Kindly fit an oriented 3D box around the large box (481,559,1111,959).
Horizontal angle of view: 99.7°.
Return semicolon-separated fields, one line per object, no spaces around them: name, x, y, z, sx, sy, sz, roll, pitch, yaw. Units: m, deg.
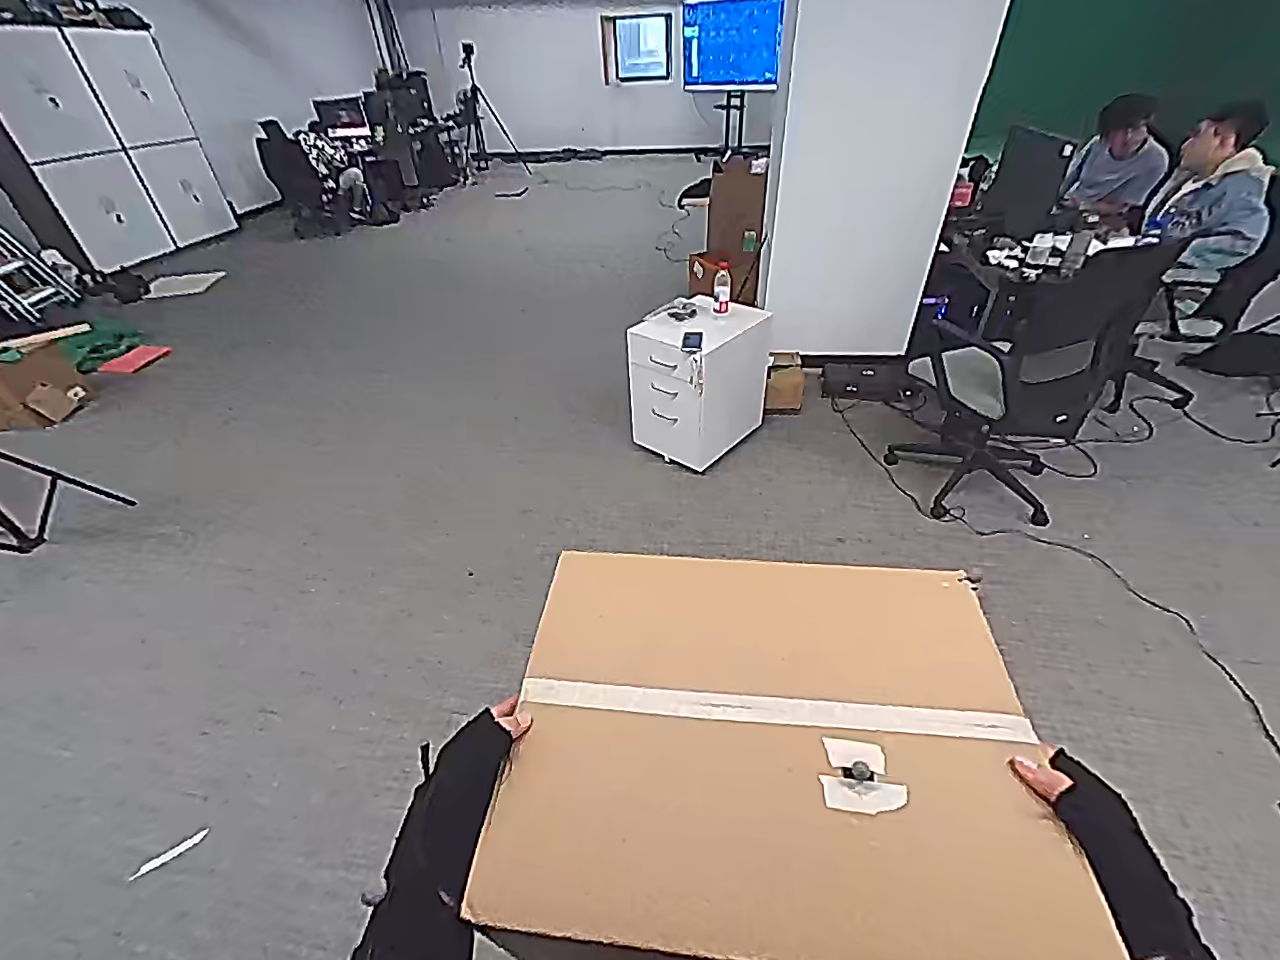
large box;0.108;0.303;0.549;0.408;0.320;0.320;2;43;7
